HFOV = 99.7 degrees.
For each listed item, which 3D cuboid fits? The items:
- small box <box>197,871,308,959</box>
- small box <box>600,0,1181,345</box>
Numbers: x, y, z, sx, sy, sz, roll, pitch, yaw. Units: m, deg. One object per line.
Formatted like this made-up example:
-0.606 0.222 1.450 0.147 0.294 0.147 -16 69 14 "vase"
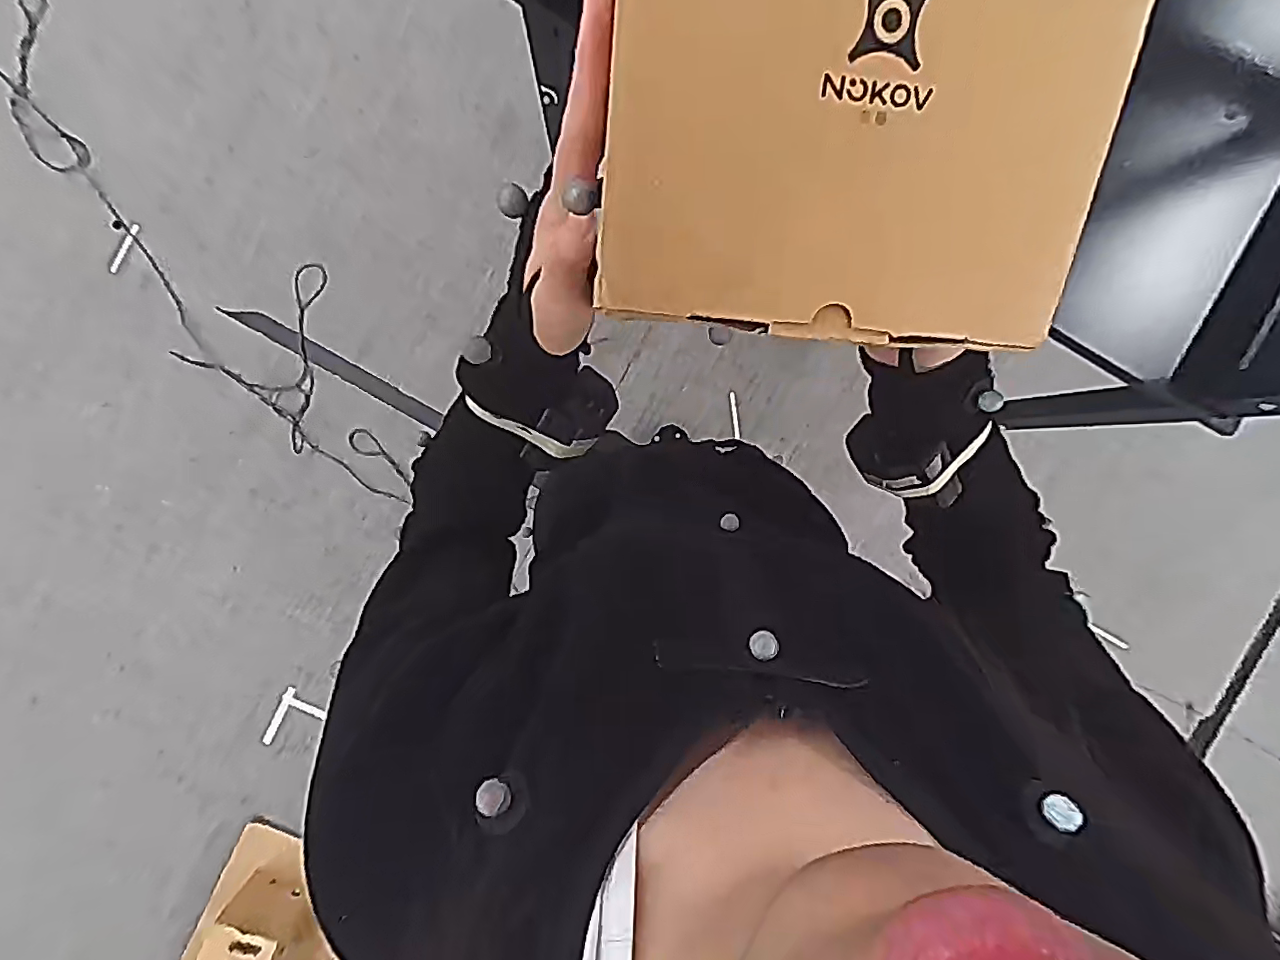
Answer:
-1.007 1.177 1.409 0.168 0.176 0.179 23 92 -5 "small box"
0.071 -0.160 0.232 0.168 0.176 0.179 3 109 -6 "small box"
